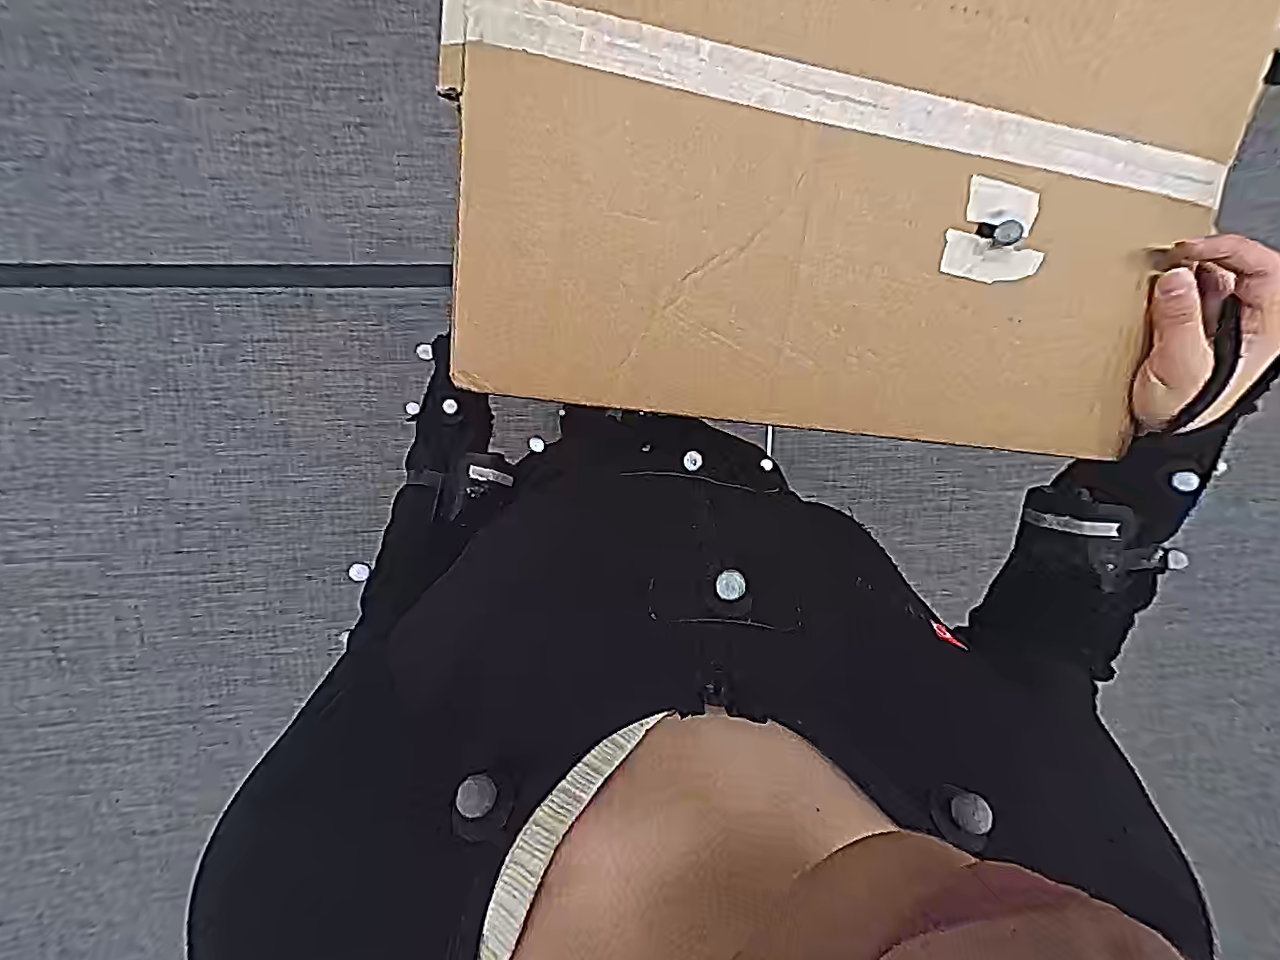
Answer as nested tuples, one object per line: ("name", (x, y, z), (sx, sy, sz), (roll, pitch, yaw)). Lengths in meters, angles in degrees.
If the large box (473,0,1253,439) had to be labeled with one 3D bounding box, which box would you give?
("large box", (0.095, -0.223, 0.415), (0.408, 0.320, 0.320), (4, 105, -13))
